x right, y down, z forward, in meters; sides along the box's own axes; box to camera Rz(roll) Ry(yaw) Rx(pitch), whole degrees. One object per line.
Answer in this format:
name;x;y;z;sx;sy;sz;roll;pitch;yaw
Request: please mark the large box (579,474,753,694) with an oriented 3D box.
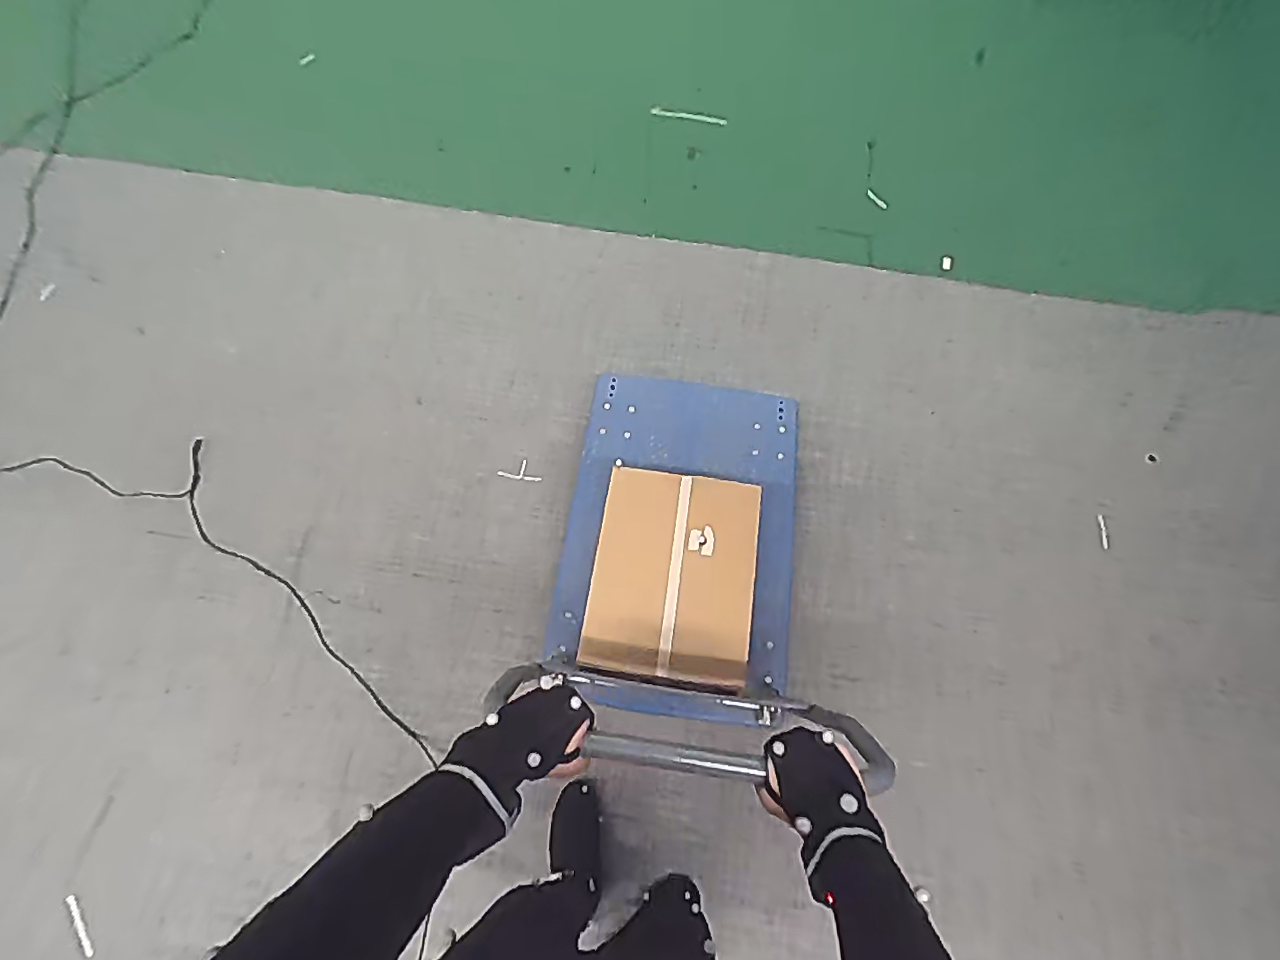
large box;0.062;0.245;1.210;0.320;0.320;0.408;8;68;3
